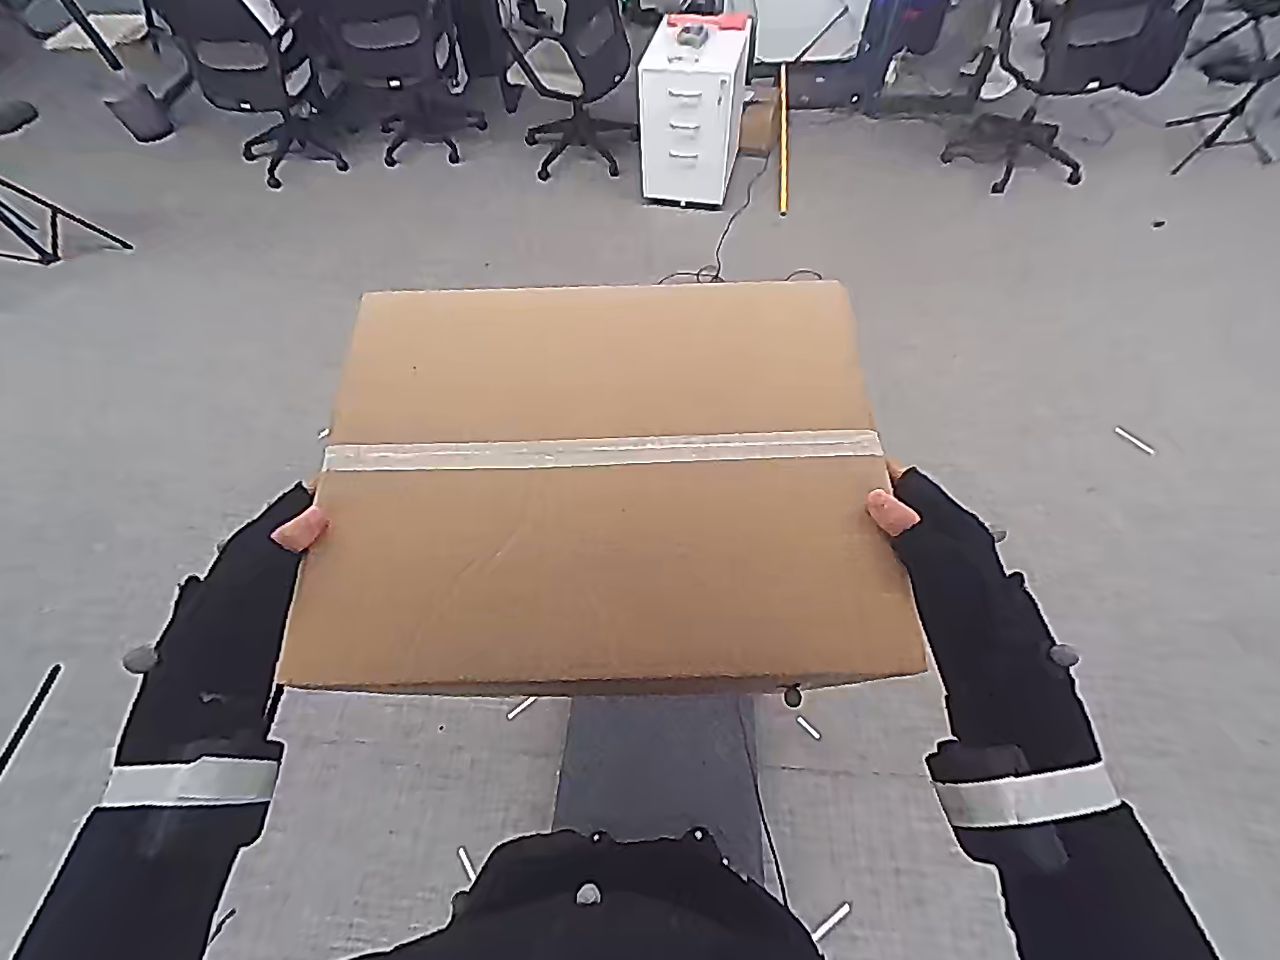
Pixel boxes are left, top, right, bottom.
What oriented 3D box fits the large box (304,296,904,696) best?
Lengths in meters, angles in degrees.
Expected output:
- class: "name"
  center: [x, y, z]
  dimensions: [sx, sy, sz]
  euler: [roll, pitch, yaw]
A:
- class: "large box"
  center: [-0.024, 0.047, 0.546]
  dimensions: [0.408, 0.320, 0.320]
  euler: [-2, 66, 1]
